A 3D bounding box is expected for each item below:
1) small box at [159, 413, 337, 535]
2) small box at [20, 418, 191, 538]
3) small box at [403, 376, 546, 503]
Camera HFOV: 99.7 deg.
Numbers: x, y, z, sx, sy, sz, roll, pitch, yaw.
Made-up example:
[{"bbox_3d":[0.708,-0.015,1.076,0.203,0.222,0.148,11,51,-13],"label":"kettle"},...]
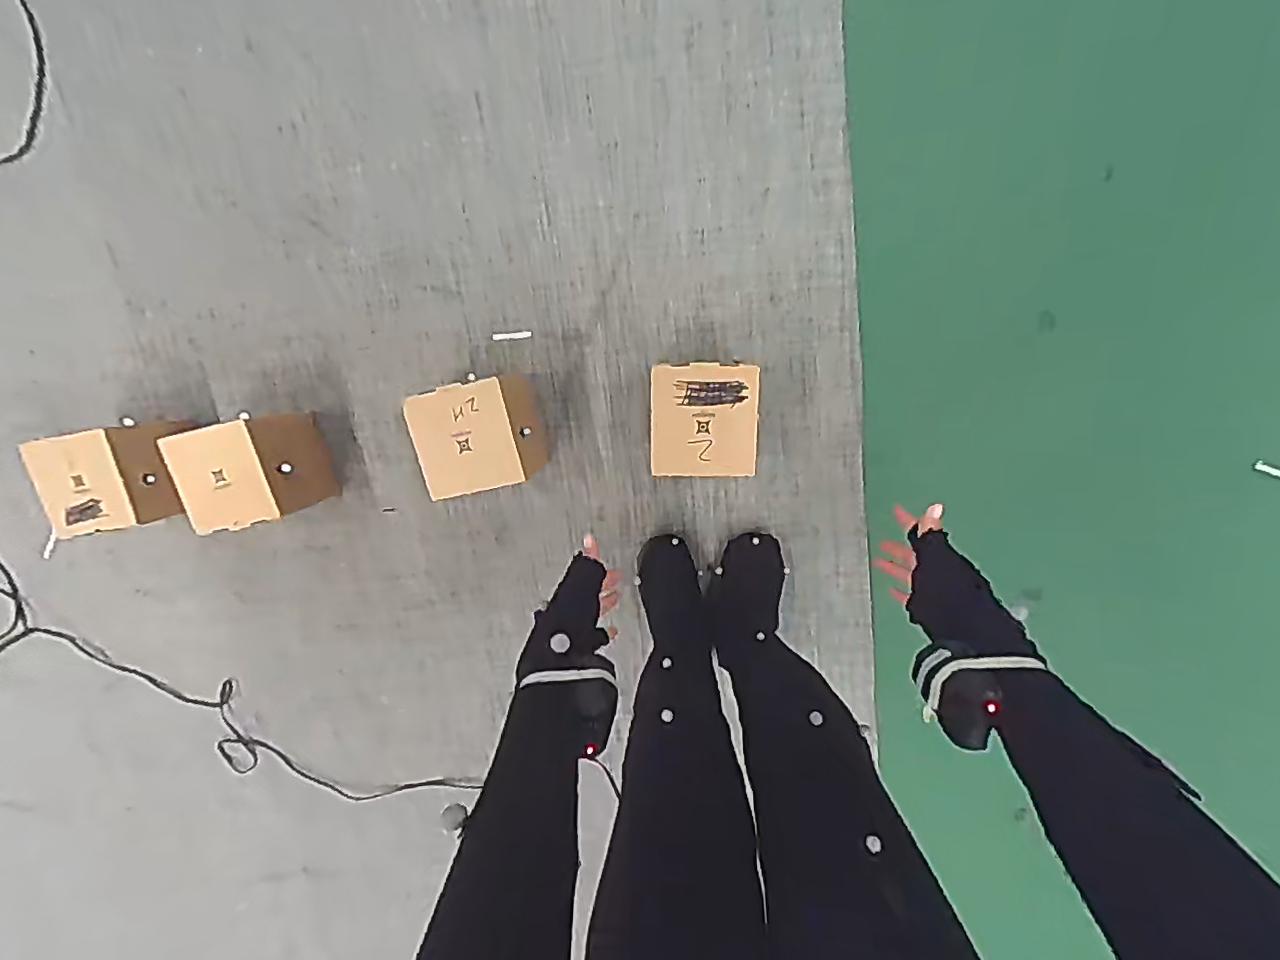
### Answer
[{"bbox_3d":[-0.693,-0.020,0.978,0.168,0.176,0.179,-12,102,7],"label":"small box"},{"bbox_3d":[-0.947,-0.009,0.998,0.168,0.176,0.179,-9,101,6],"label":"small box"},{"bbox_3d":[-0.272,-0.077,0.935,0.168,0.176,0.179,-11,102,5],"label":"small box"}]
